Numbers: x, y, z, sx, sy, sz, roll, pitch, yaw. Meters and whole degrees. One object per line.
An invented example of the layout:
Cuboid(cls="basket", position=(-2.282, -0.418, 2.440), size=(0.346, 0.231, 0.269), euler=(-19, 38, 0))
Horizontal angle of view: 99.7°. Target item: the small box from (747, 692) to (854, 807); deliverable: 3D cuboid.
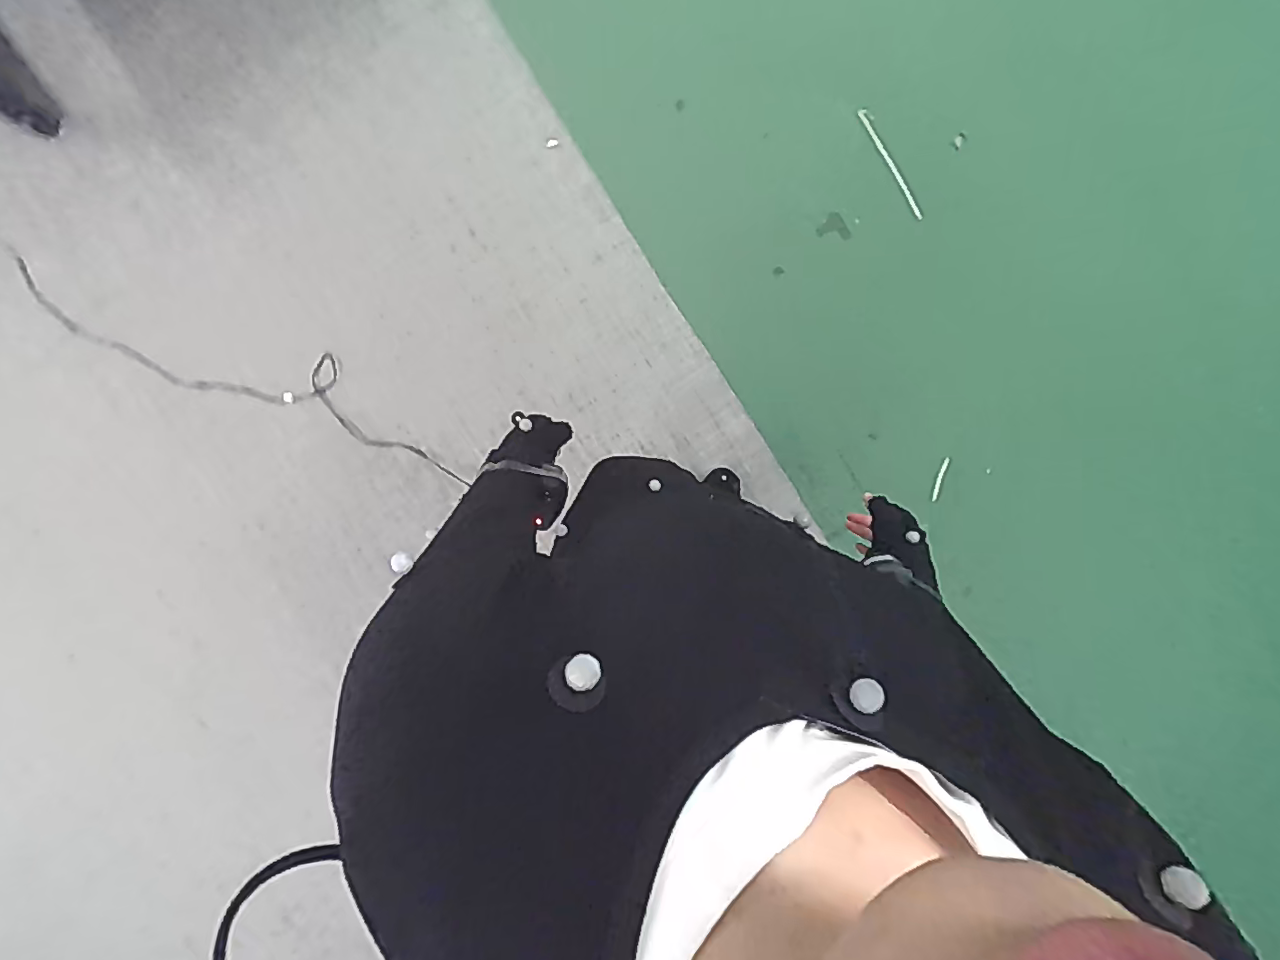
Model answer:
Cuboid(cls="small box", position=(0.398, 0.670, 1.377), size=(0.179, 0.176, 0.168), euler=(42, 93, -3))
